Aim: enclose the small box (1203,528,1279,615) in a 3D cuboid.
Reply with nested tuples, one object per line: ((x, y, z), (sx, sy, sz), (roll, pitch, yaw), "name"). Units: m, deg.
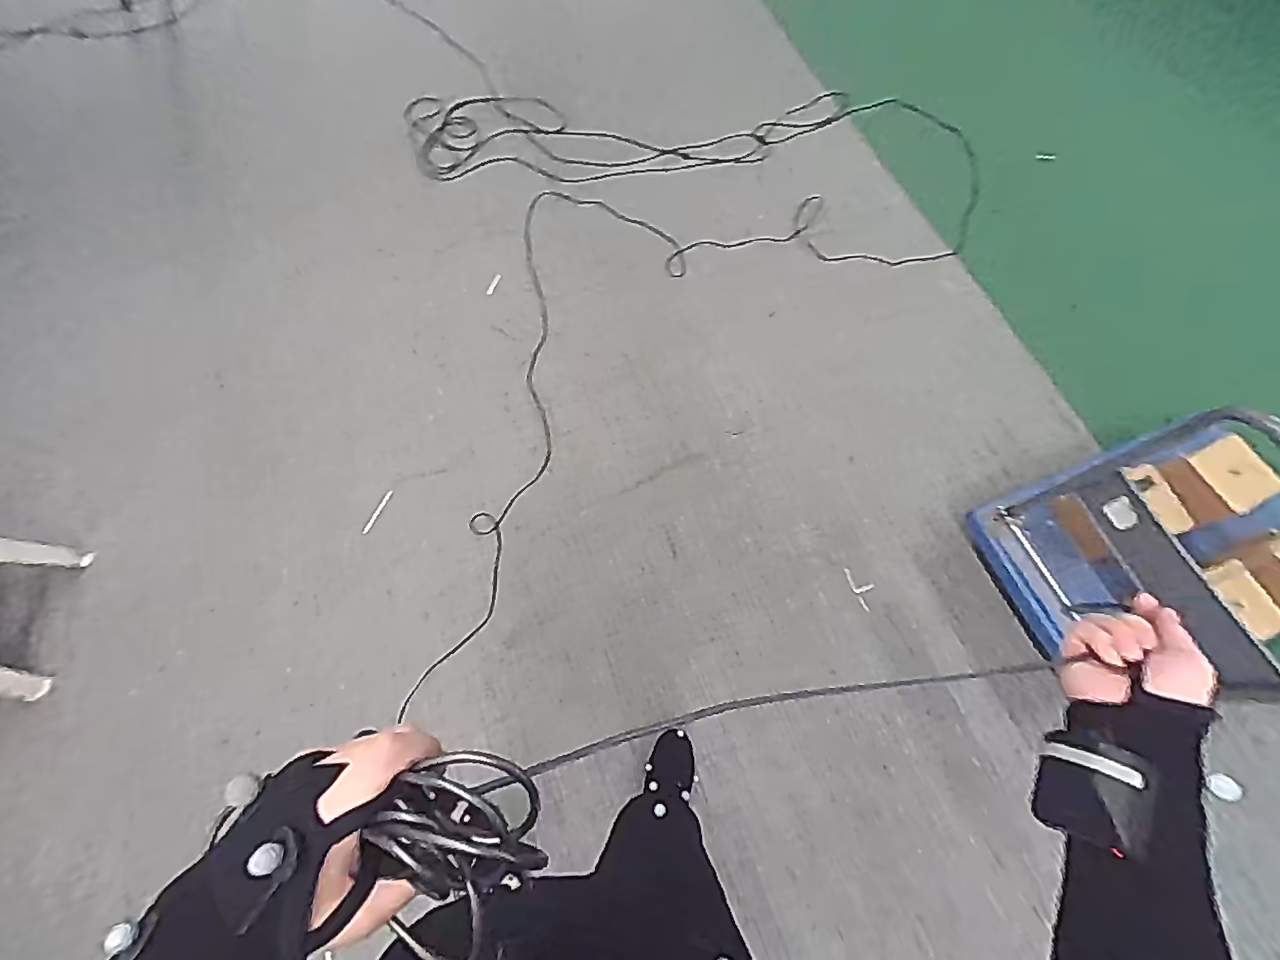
((1.589, 0.223, 1.343), (0.179, 0.176, 0.168), (-24, 70, -10), "small box")

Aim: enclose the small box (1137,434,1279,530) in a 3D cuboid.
((1.479, 0.012, 1.425), (0.179, 0.176, 0.168), (-23, 71, -11), "small box")

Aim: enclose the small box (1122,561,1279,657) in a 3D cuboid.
((1.338, 0.314, 1.299), (0.179, 0.176, 0.168), (-19, 70, -8), "small box")
